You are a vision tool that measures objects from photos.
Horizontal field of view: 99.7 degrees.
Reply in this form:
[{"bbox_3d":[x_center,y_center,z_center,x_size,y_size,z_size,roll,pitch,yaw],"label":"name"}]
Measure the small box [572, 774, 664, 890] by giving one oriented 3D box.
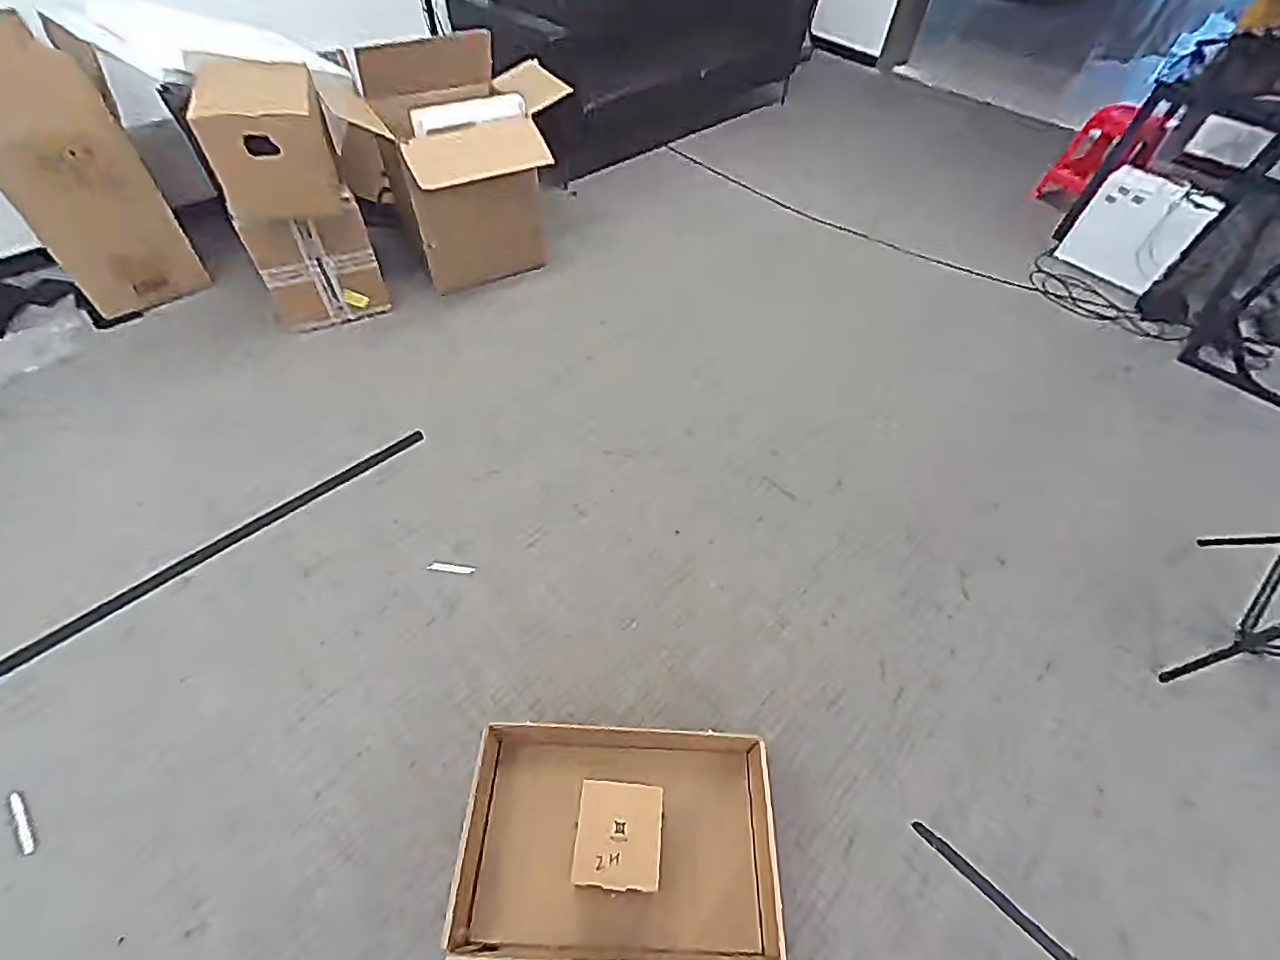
[{"bbox_3d":[-0.043,0.727,1.114,0.168,0.176,0.179,5,53,1],"label":"small box"}]
